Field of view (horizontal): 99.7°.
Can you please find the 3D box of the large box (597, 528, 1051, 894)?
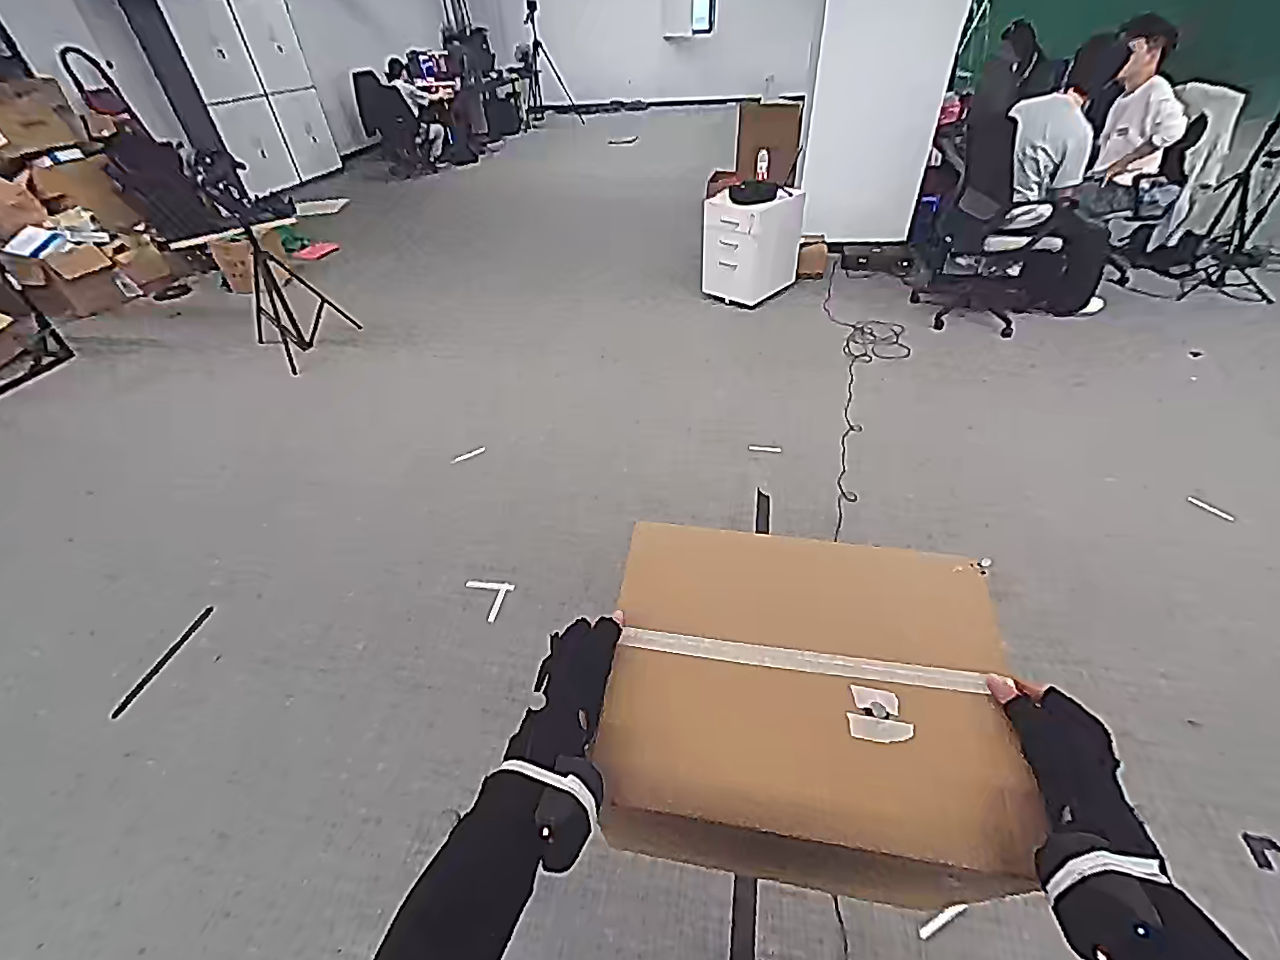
[{"bbox_3d":[0.178,0.289,0.686,0.408,0.320,0.320,5,49,7],"label":"large box"}]
